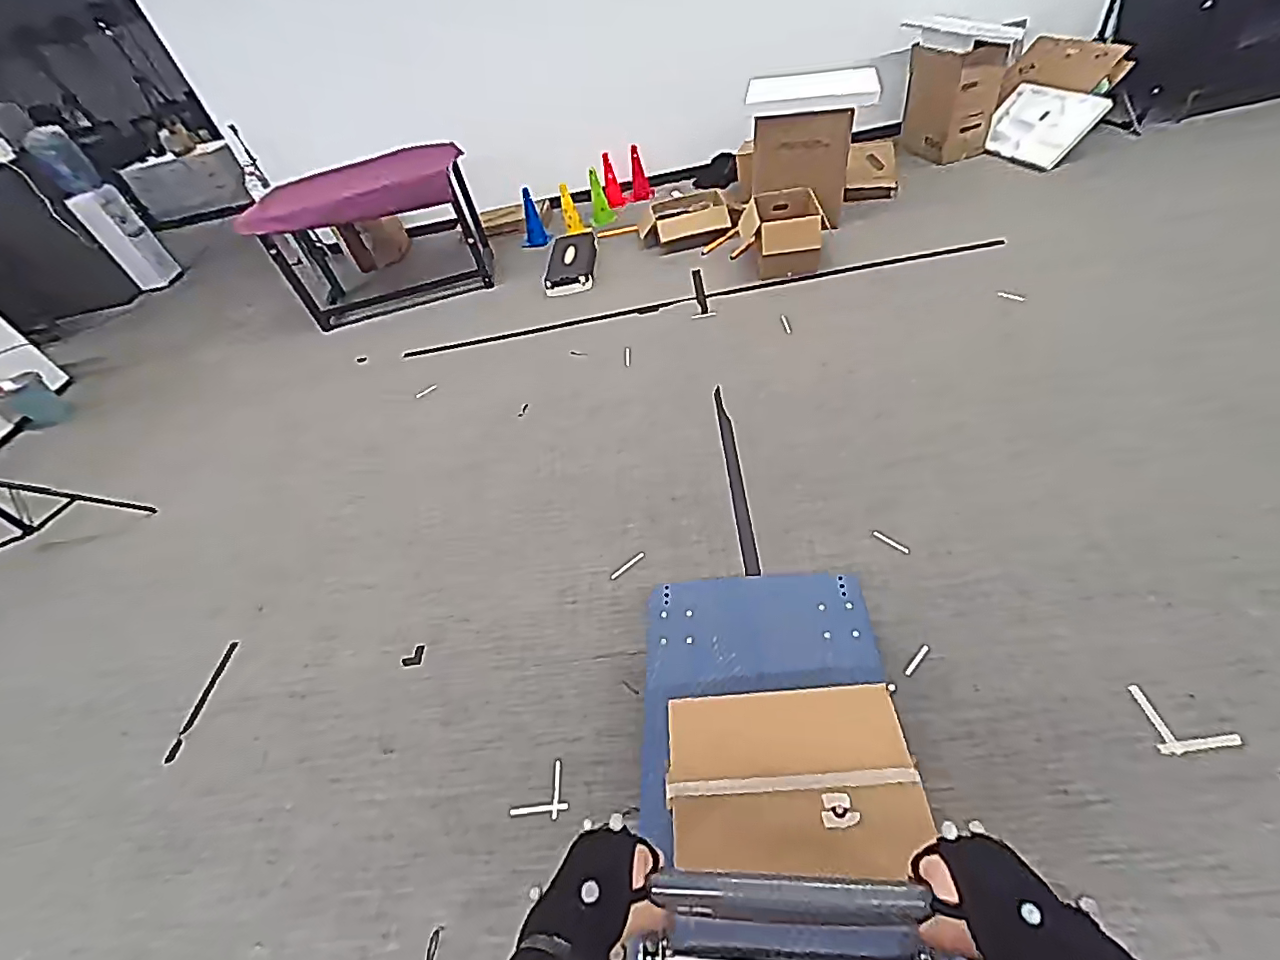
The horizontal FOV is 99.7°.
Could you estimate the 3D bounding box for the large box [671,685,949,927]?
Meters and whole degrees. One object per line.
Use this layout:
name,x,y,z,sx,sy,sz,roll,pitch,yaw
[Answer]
large box,0.280,0.618,1.018,0.408,0.320,0.320,-7,45,6
